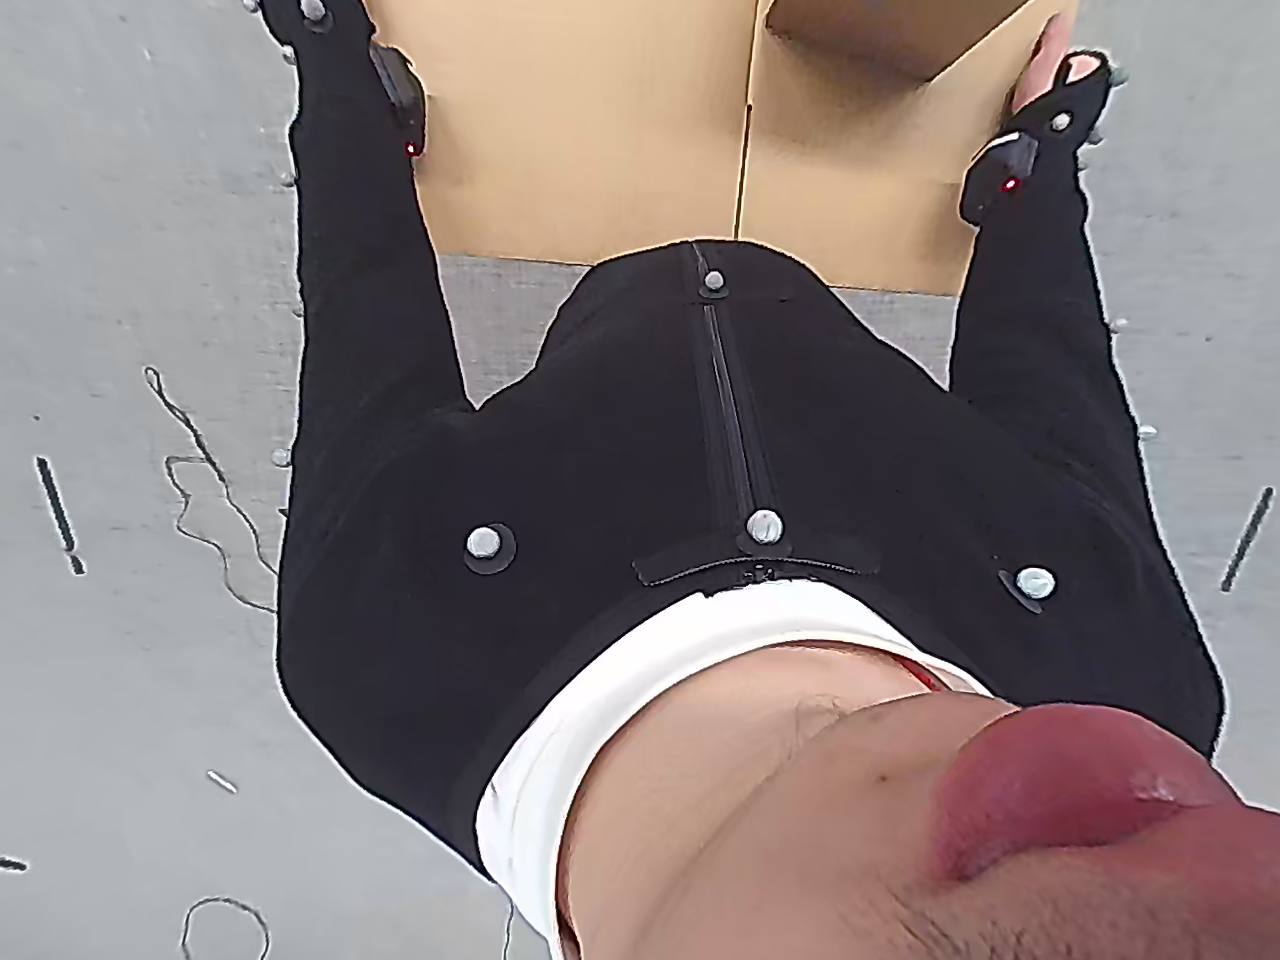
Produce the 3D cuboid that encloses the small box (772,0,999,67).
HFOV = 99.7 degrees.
[{"bbox_3d":[0.219,-0.465,0.419,0.179,0.176,0.168,14,106,-4],"label":"small box"}]
